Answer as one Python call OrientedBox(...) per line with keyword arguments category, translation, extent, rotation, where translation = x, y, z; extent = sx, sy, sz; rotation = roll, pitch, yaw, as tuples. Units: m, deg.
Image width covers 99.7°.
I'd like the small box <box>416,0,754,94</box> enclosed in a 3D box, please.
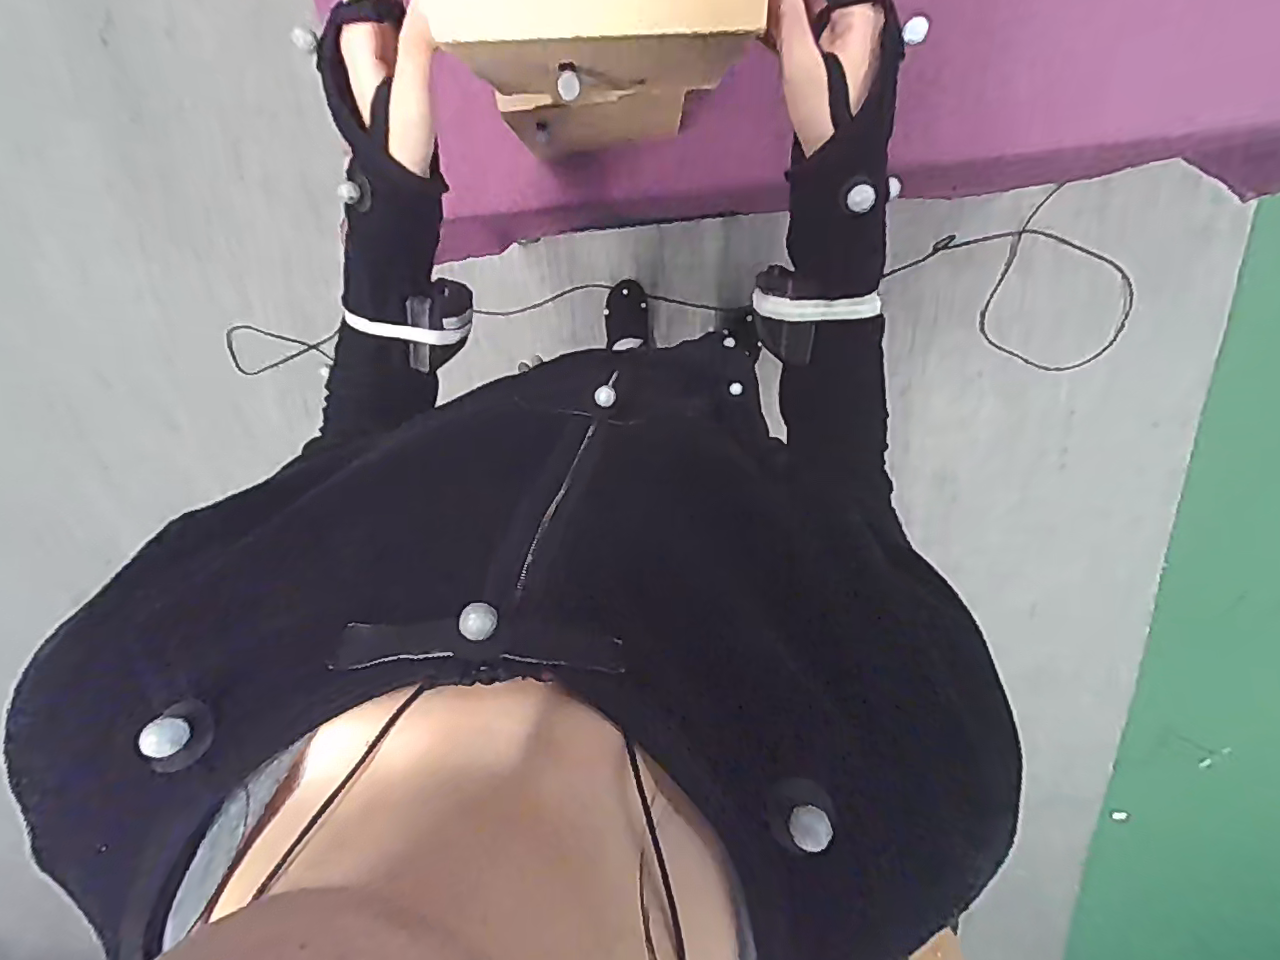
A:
OrientedBox(category="small box", translation=(-0.026, -0.326, 0.296), extent=(0.168, 0.176, 0.179), rotation=(-1, 117, 0))
